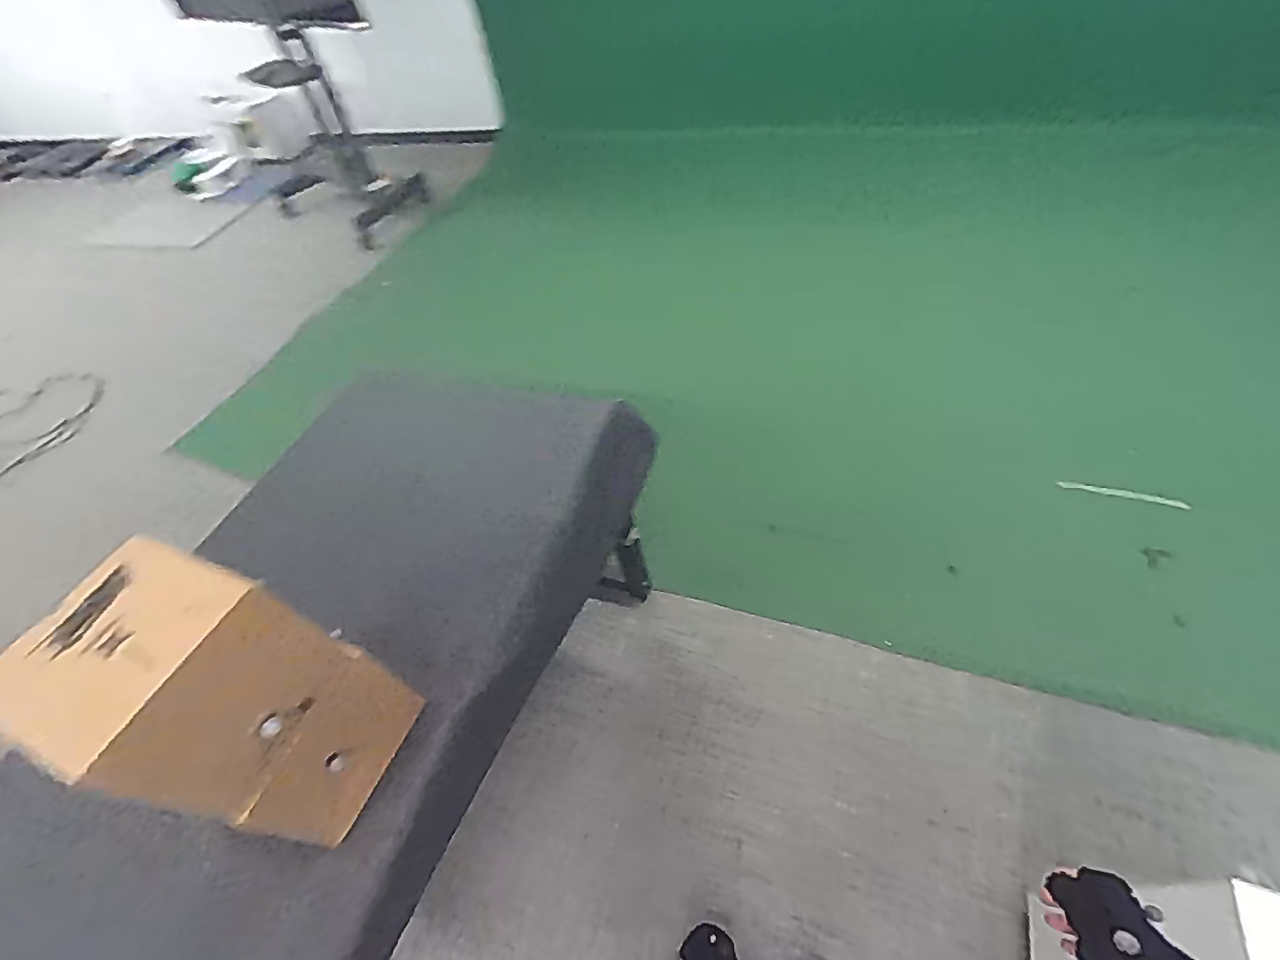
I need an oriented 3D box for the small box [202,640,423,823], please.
[{"bbox_3d":[-0.396,0.279,0.642,0.168,0.176,0.179,13,56,20],"label":"small box"}]
